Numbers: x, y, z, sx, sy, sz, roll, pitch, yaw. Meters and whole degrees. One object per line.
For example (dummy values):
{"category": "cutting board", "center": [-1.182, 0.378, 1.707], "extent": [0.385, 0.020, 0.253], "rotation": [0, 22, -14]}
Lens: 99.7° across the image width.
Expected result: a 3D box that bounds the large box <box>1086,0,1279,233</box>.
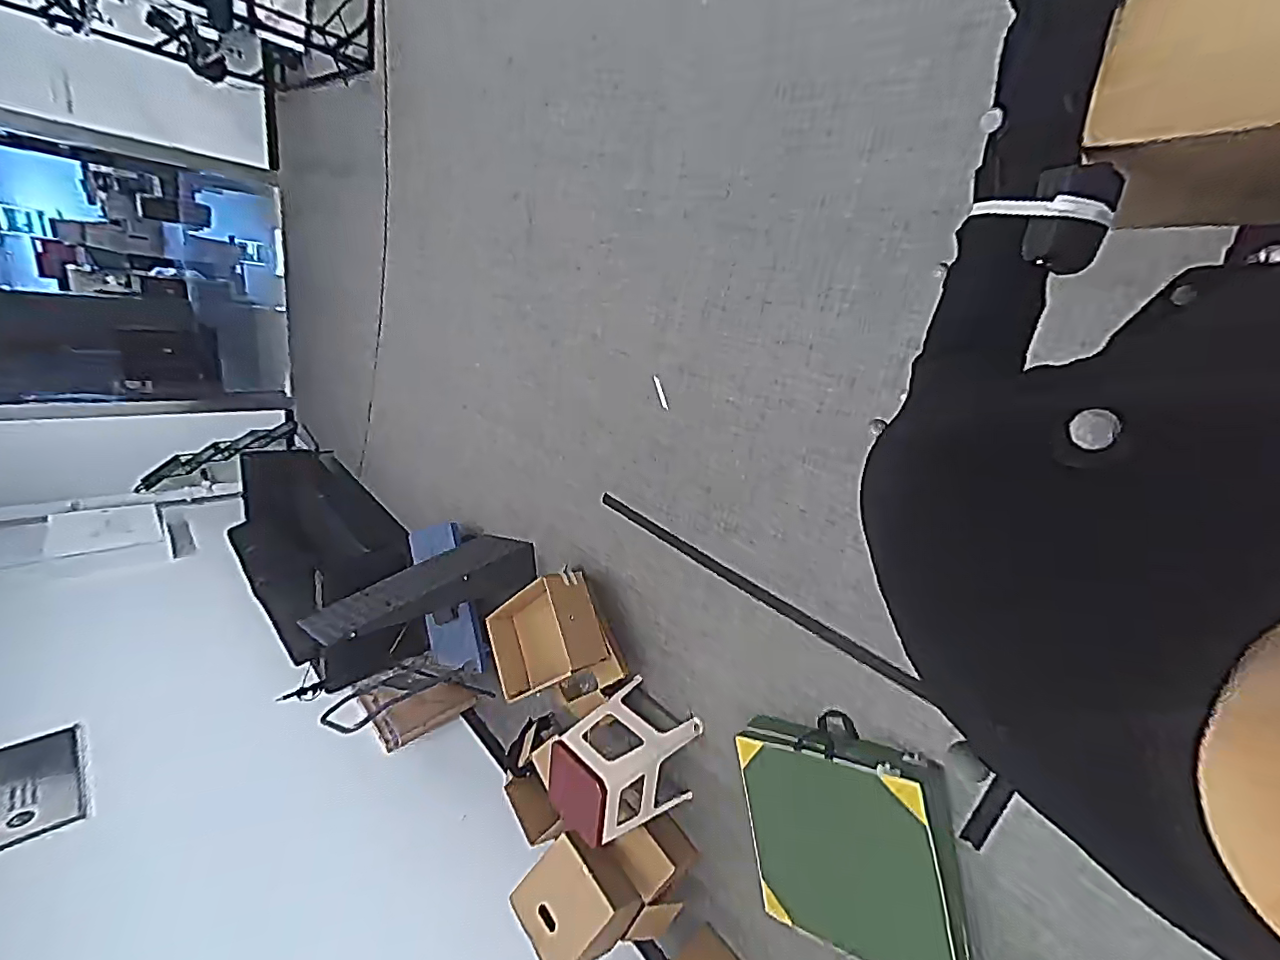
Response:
{"category": "large box", "center": [0.571, -0.358, 0.333], "extent": [0.408, 0.320, 0.320], "rotation": [17, 110, 39]}
